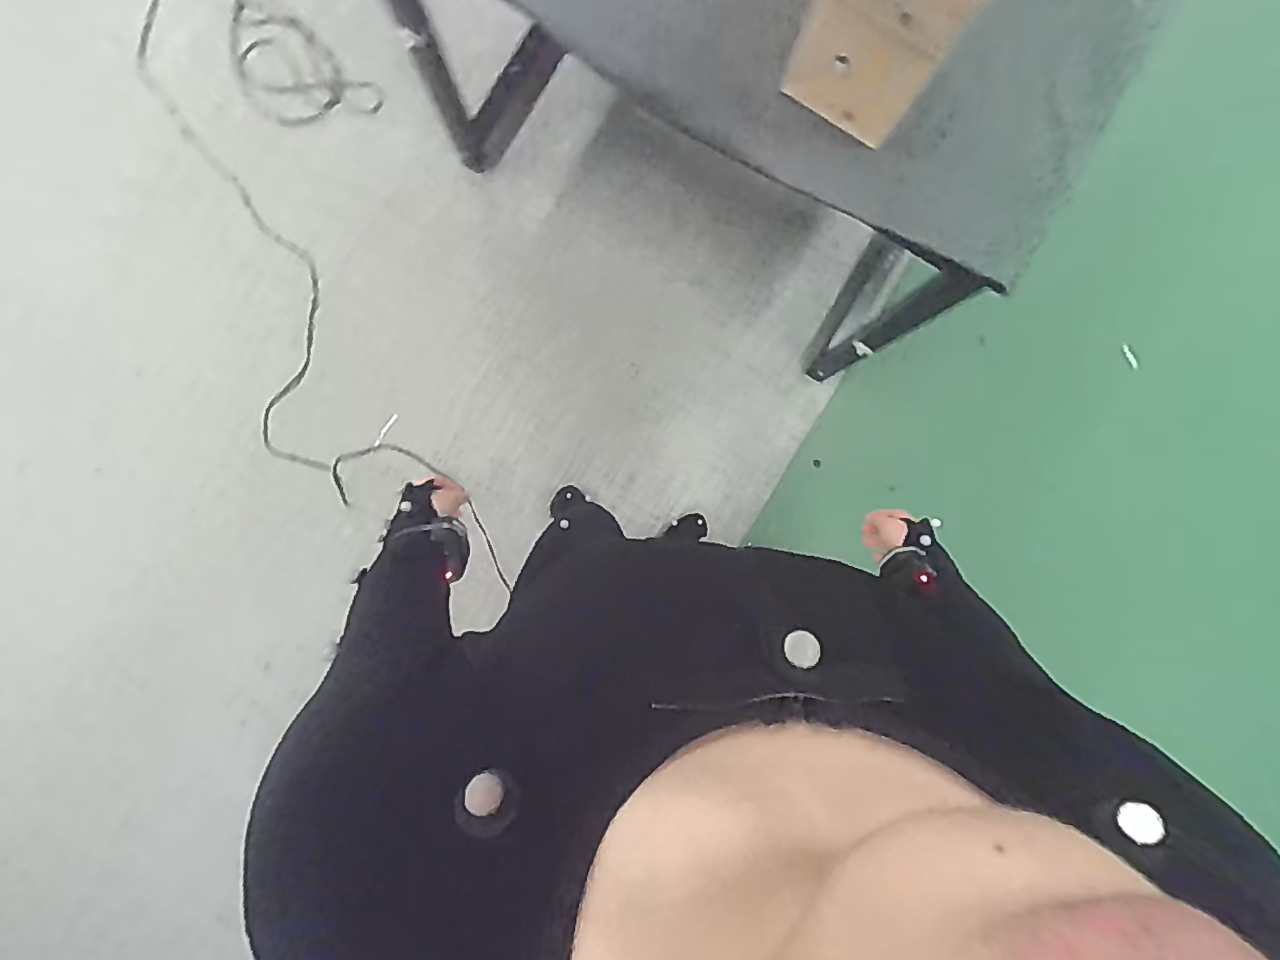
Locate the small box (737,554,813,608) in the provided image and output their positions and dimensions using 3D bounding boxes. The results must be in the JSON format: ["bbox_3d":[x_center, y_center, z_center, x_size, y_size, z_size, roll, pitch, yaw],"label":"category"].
[{"bbox_3d":[0.378,0.309,1.412,0.168,0.176,0.179,-42,91,-2],"label":"small box"}]

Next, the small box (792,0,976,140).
[{"bbox_3d":[0.320,-0.596,0.702,0.168,0.176,0.179,31,86,-1],"label":"small box"}]
